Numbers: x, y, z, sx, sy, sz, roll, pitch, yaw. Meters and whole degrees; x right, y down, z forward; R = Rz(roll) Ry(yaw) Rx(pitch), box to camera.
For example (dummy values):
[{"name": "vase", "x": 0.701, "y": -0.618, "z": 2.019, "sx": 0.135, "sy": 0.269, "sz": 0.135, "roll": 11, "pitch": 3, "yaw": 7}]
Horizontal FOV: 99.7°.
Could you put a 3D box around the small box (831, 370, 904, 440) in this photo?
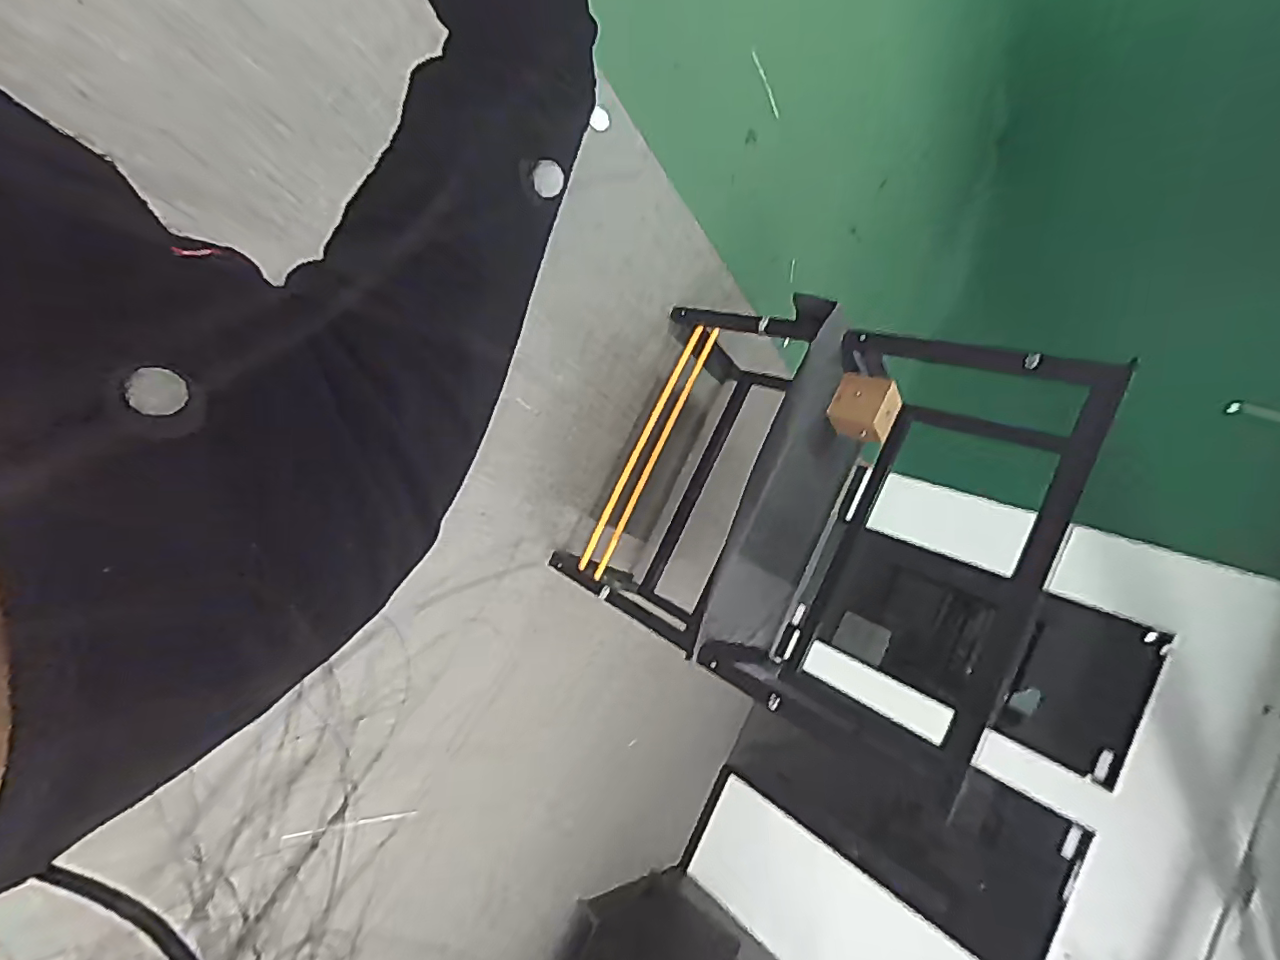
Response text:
[{"name": "small box", "x": 0.778, "y": -0.263, "z": 1.858, "sx": 0.179, "sy": 0.176, "sz": 0.168, "roll": 35, "pitch": 82, "yaw": -52}]
